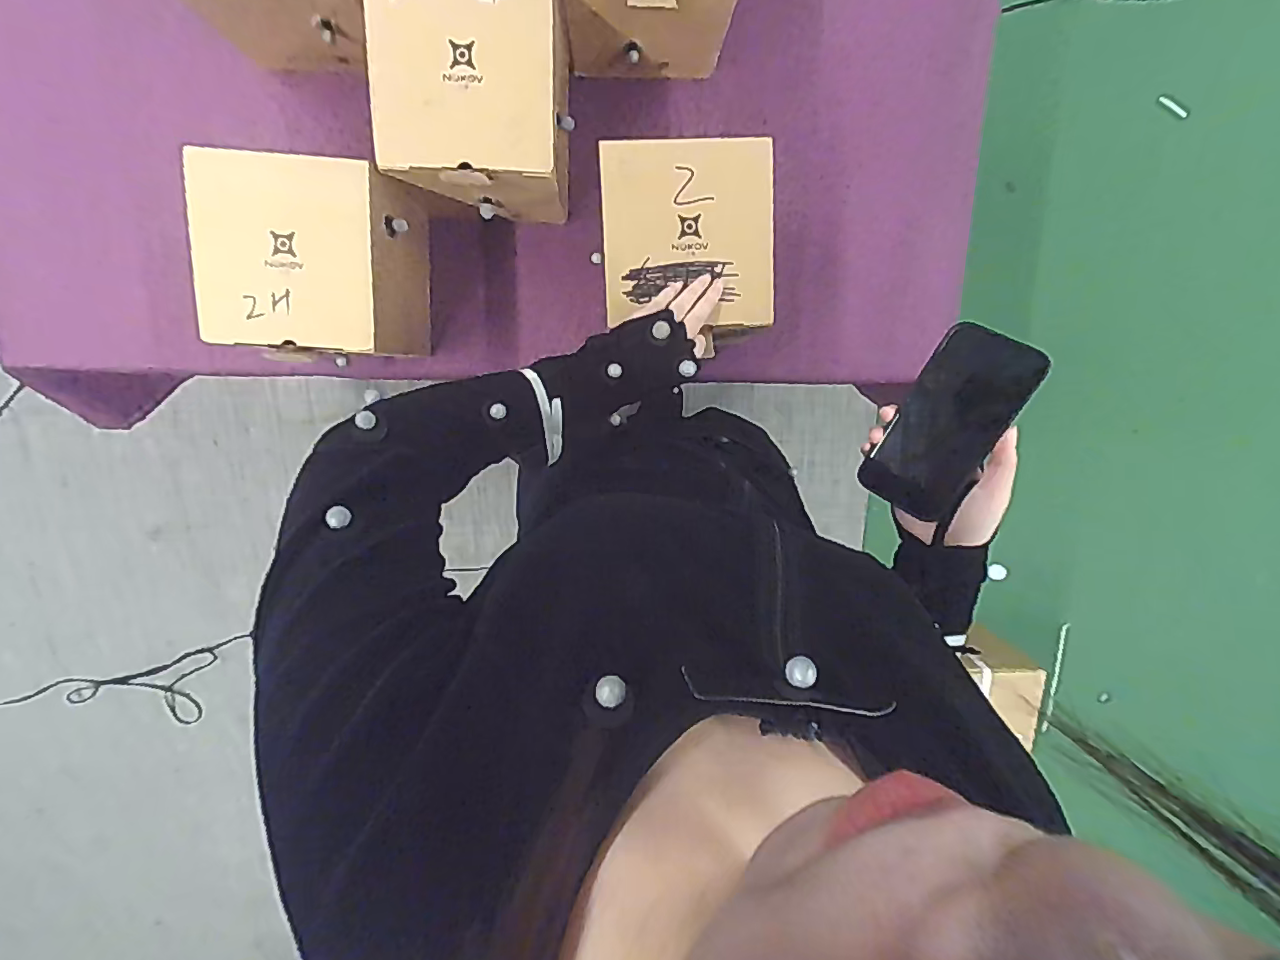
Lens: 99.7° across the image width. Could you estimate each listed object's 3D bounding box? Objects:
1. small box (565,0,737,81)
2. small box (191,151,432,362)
[{"bbox_3d":[0.005,-0.542,0.542,0.168,0.176,0.179,-2,103,-2],"label":"small box"},{"bbox_3d":[-0.337,-0.225,0.590,0.168,0.176,0.179,3,101,-3],"label":"small box"}]
